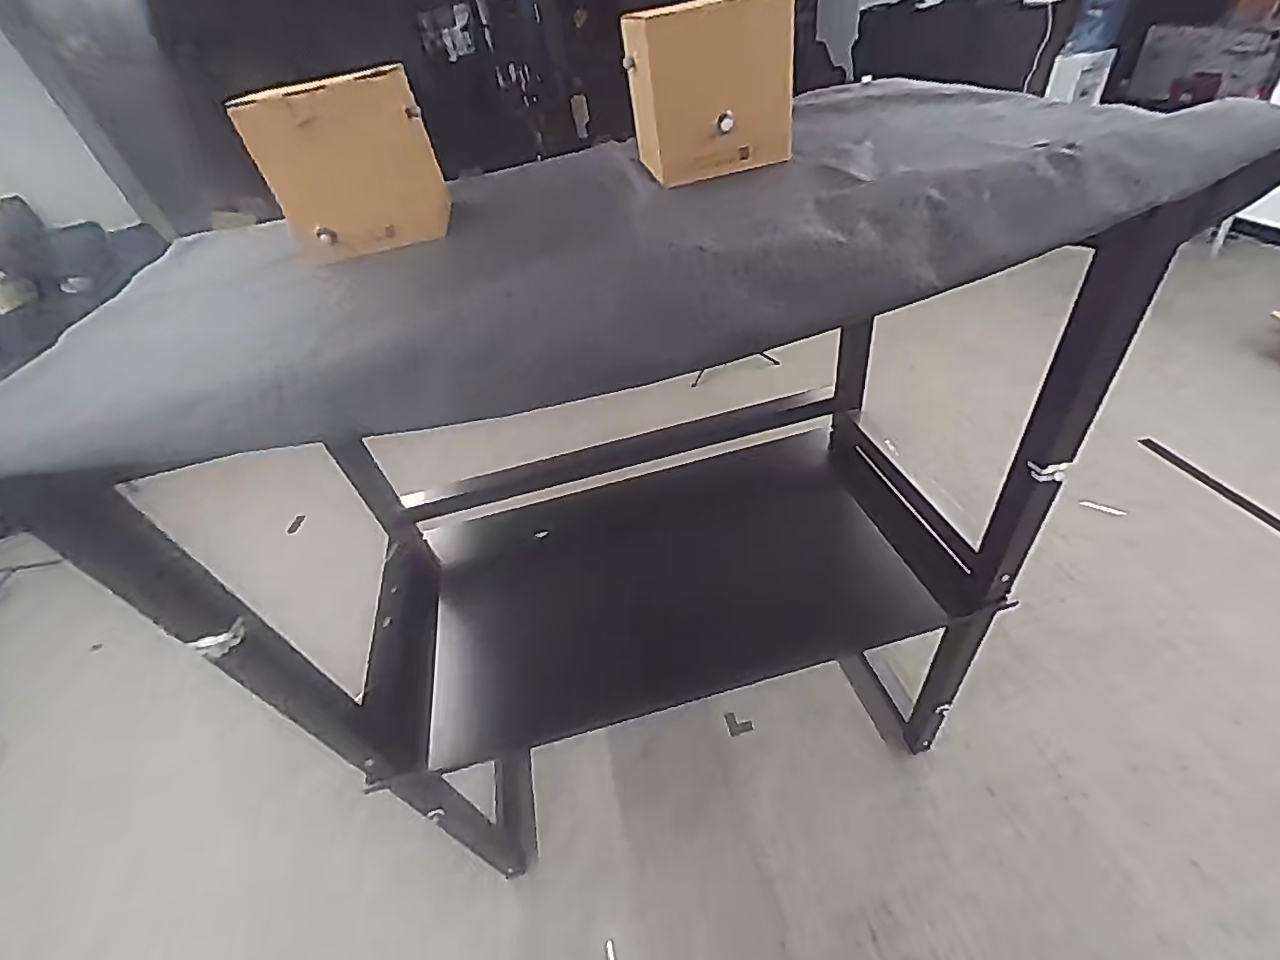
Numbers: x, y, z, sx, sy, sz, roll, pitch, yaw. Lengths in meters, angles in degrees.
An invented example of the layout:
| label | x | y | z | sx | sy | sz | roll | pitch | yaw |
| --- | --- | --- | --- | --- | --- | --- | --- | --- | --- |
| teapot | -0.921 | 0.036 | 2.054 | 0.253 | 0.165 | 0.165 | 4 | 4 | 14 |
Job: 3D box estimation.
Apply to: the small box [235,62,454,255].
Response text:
| label | x | y | z | sx | sy | sz | roll | pitch | yaw |
| --- | --- | --- | --- | --- | --- | --- | --- | --- | --- |
| small box | -0.345 | -0.398 | 0.677 | 0.168 | 0.176 | 0.179 | -14 | 41 | -3 |

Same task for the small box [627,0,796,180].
| label | x | y | z | sx | sy | sz | roll | pitch | yaw |
| --- | --- | --- | --- | --- | --- | --- | --- | --- | --- |
| small box | 0.086 | -0.502 | 0.689 | 0.168 | 0.176 | 0.179 | -14 | 42 | -1 |
